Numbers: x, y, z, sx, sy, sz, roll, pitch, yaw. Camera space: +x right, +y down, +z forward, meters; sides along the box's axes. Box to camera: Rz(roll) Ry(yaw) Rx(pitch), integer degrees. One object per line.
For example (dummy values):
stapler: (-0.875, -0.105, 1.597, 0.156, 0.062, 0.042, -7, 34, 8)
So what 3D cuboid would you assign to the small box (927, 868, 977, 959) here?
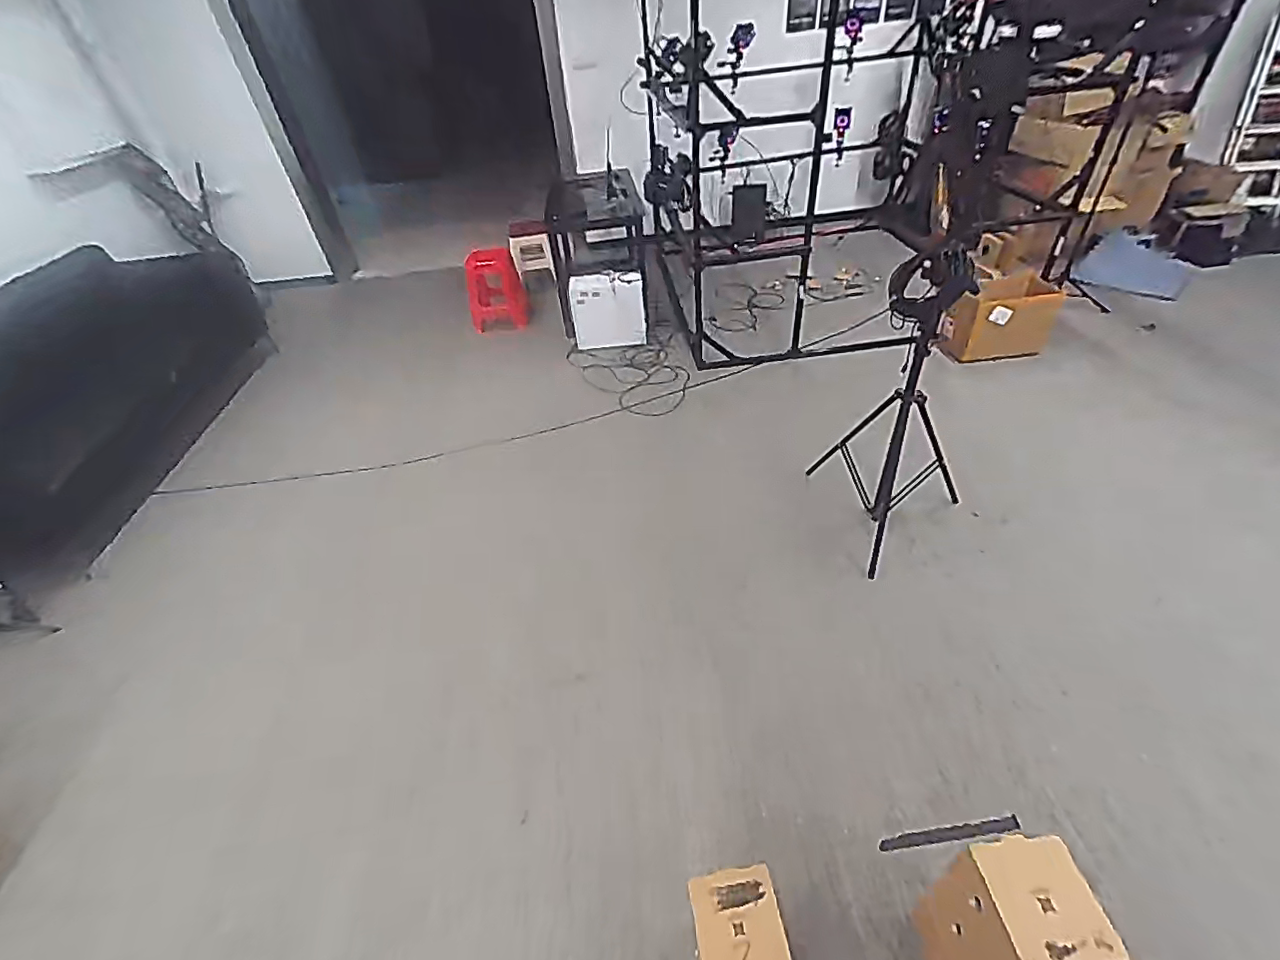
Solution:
small box: (0.694, 0.868, 1.053, 0.168, 0.176, 0.179, -6, 41, 0)

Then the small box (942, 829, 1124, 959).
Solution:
small box: (0.666, 0.745, 0.946, 0.168, 0.176, 0.179, -6, 40, 0)

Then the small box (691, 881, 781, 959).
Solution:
small box: (0.208, 1.023, 1.189, 0.168, 0.176, 0.179, -9, 40, -2)
